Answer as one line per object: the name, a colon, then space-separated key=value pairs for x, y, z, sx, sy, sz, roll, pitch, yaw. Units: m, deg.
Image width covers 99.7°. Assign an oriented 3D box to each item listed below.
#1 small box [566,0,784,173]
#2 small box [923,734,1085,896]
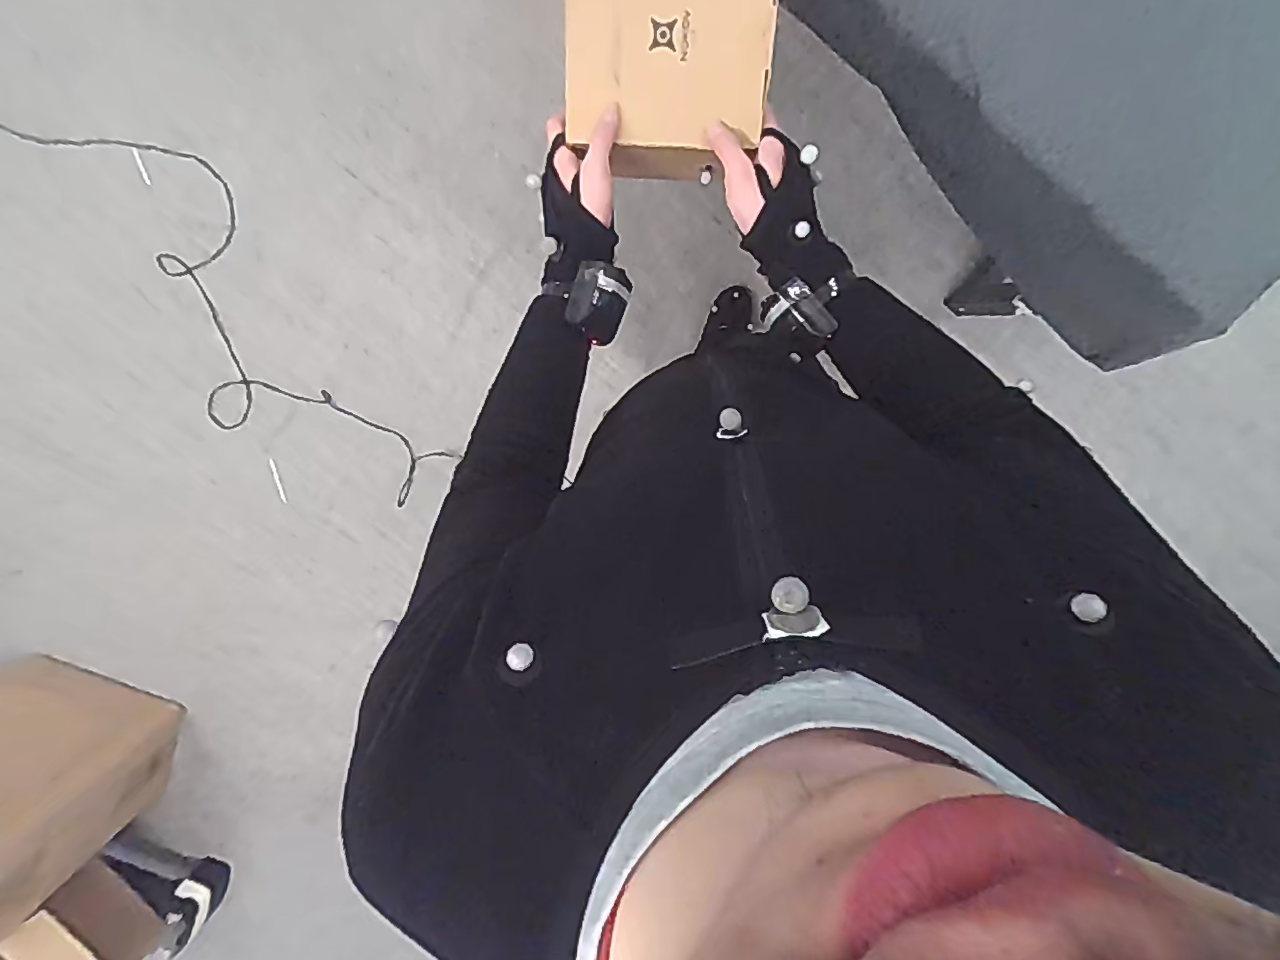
small box: x=0.031 y=-0.399 z=0.507 sx=0.179 sy=0.176 sz=0.168 roll=3 pitch=109 yaw=3
small box: x=0.688 y=0.643 z=1.052 sx=0.179 sy=0.176 sz=0.168 roll=-41 pitch=102 yaw=12
